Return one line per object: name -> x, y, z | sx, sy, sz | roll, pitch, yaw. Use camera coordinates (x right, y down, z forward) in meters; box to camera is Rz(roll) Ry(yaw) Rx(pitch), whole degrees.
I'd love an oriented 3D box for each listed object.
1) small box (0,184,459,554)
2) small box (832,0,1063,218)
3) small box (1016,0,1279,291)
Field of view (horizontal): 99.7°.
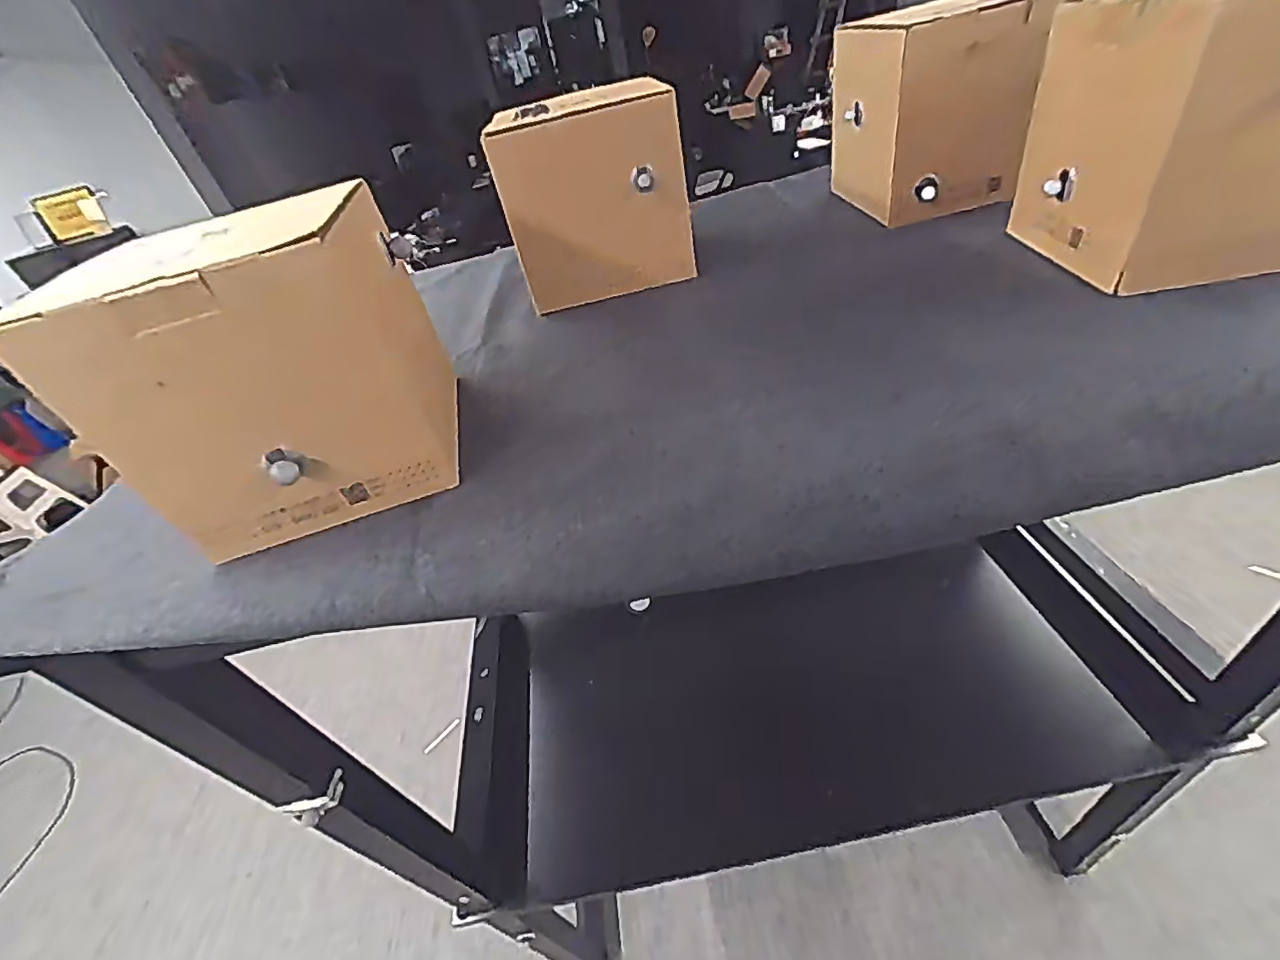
small box -> -0.237, -0.081, 0.374 | 0.168, 0.176, 0.179 | -19, 40, -4
small box -> 0.313, -0.393, 0.567 | 0.168, 0.176, 0.179 | -12, 39, 4
small box -> 0.402, -0.250, 0.370 | 0.179, 0.176, 0.168 | -8, 38, 10
